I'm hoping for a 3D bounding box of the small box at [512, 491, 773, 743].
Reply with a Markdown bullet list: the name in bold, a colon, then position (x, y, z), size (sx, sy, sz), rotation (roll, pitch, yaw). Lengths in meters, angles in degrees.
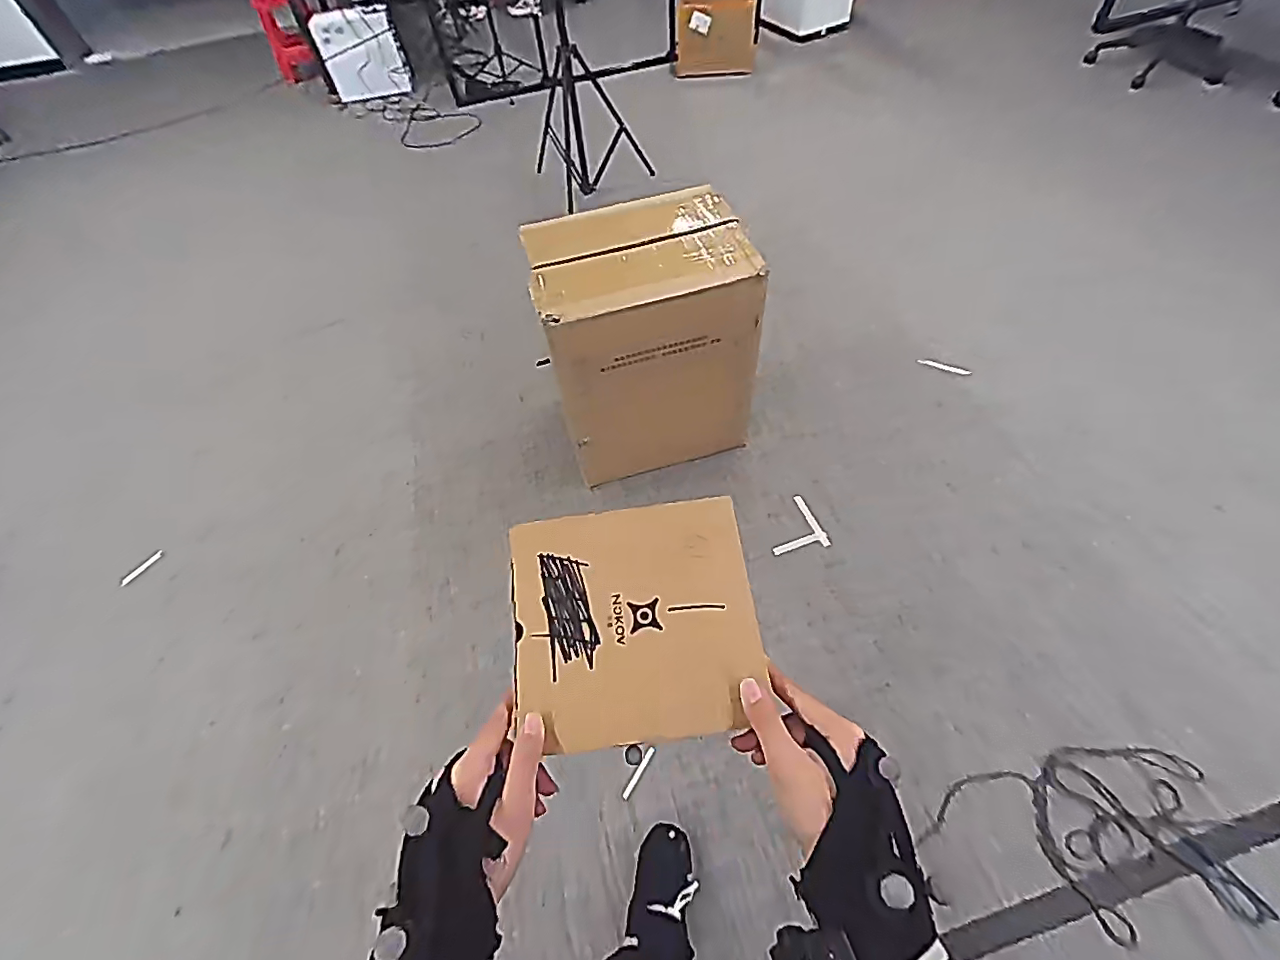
- **small box**: position (-0.001, 0.125, 0.460), size (0.179, 0.176, 0.168), rotation (-7, 65, 0)
